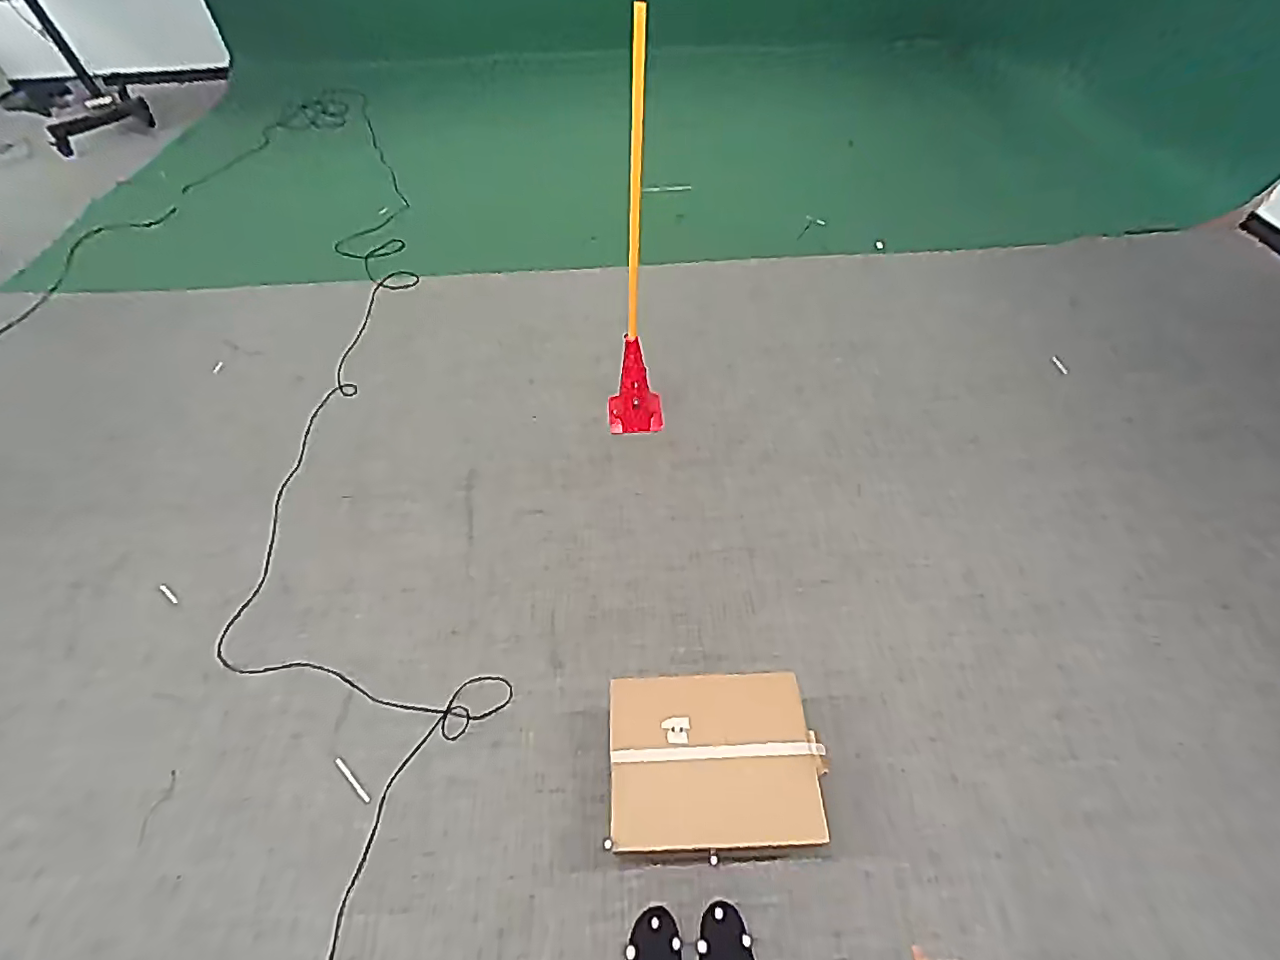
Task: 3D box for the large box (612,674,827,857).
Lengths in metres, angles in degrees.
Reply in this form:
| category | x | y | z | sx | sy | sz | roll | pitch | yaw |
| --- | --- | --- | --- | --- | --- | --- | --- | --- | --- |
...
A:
| category | x | y | z | sx | sy | sz | roll | pitch | yaw |
| --- | --- | --- | --- | --- | --- | --- | --- | --- | --- |
| large box | 0.149 | 0.643 | 1.204 | 0.408 | 0.320 | 0.320 | -2 | 52 | 1 |
